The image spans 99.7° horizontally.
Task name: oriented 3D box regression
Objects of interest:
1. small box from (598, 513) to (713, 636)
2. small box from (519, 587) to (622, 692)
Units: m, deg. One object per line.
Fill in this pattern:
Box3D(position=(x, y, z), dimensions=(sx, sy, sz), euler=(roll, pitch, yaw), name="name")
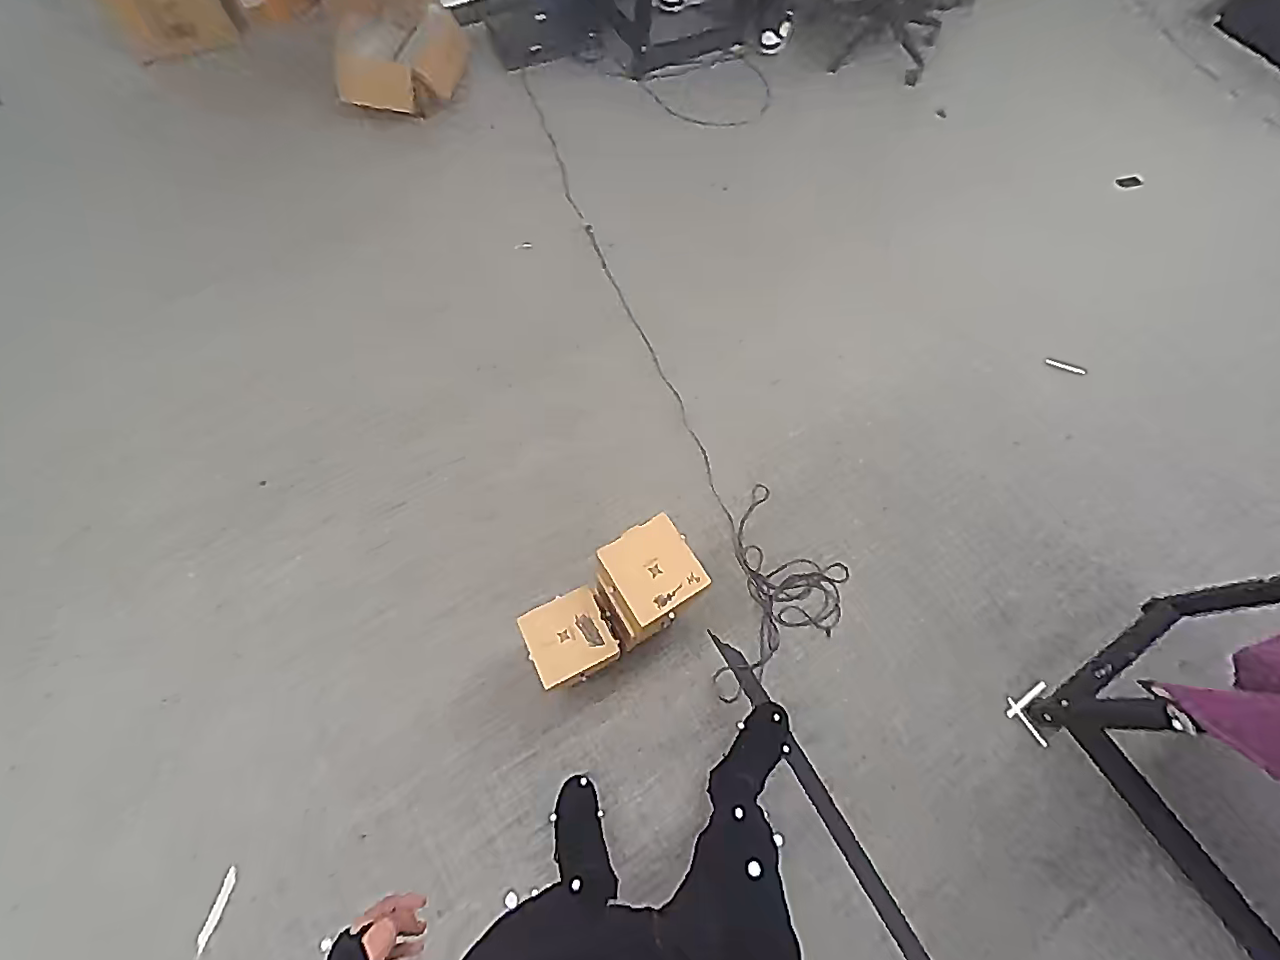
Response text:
Box3D(position=(0.026, 0.203, 1.124), dimensions=(0.168, 0.176, 0.179), euler=(-30, 71, -13), name="small box")
Box3D(position=(-0.153, 0.364, 1.228), dimensions=(0.179, 0.176, 0.168), euler=(-24, 71, -10), name="small box")
